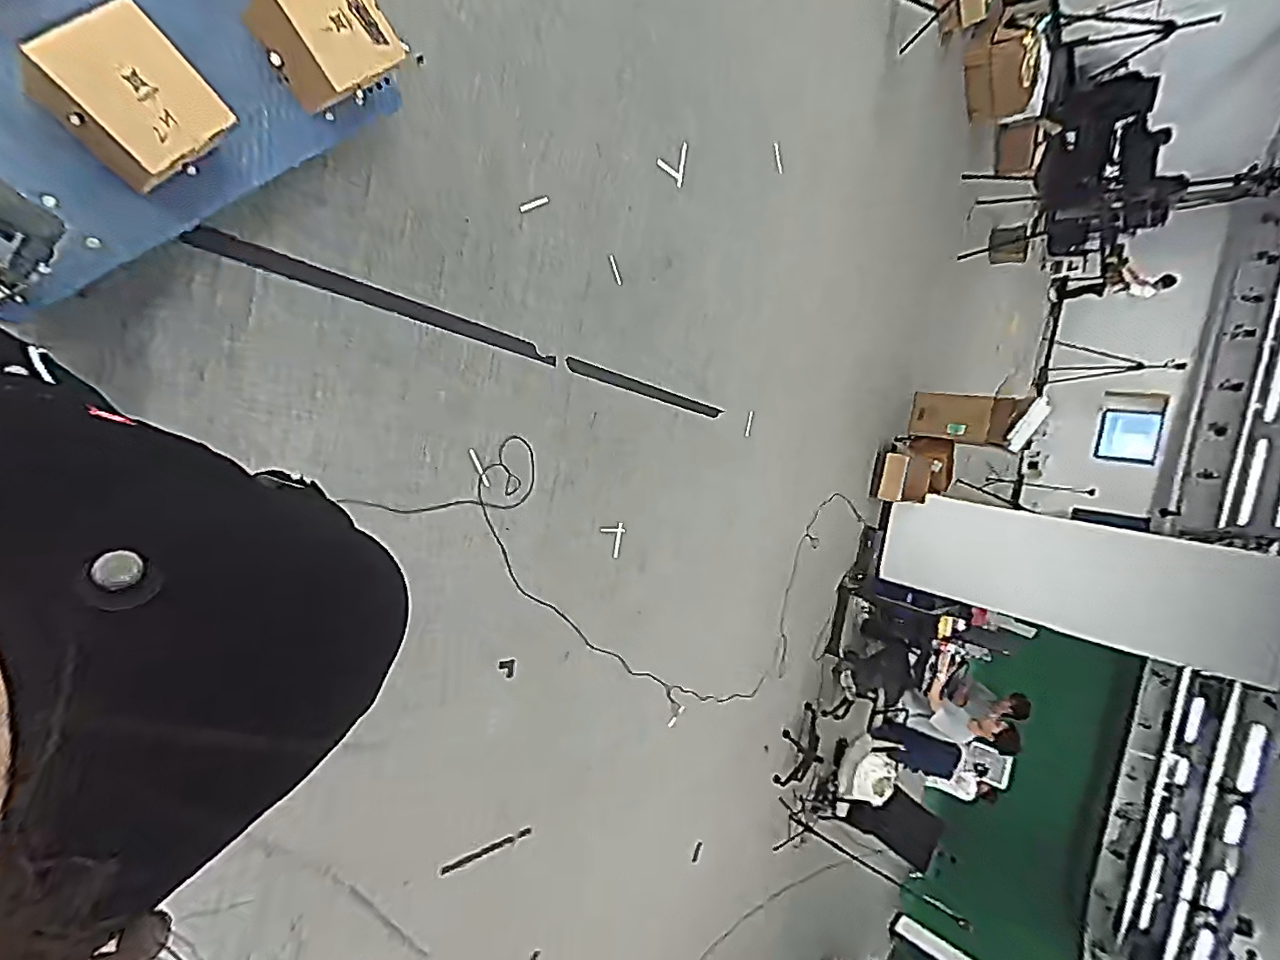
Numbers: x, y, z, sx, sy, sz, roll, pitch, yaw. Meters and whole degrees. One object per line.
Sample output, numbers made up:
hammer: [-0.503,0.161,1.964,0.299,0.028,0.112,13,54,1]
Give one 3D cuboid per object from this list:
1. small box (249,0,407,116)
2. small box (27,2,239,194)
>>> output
small box: [-0.592,-0.829,1.025,0.179,0.176,0.168,-51,132,-26]
small box: [-0.796,-0.588,0.853,0.168,0.176,0.179,-57,136,-23]
